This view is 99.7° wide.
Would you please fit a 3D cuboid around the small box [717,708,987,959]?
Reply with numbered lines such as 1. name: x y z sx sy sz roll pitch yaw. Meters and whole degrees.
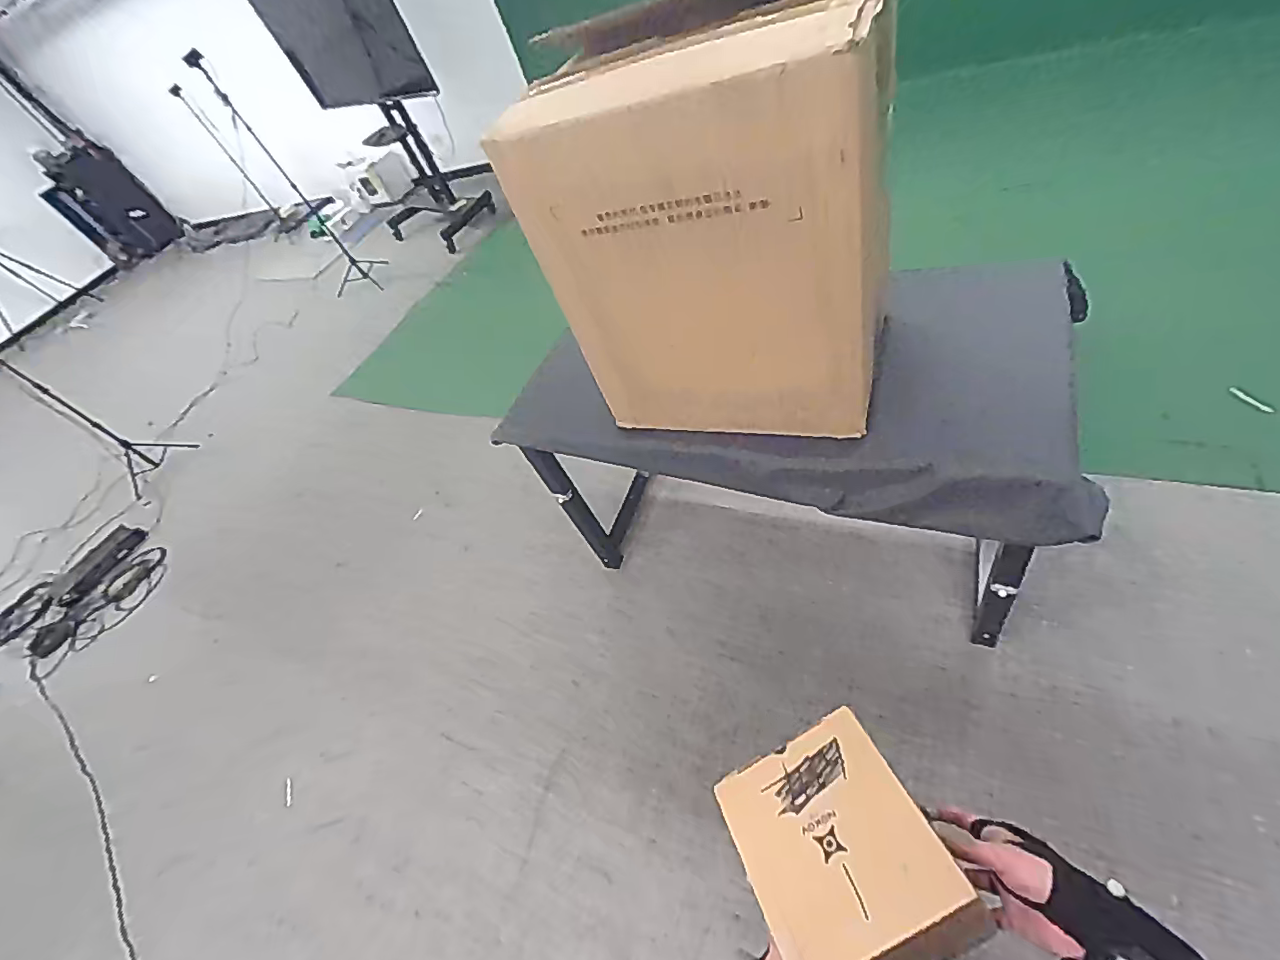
1. small box: 0.207 0.373 0.540 0.168 0.176 0.179 -33 36 4
